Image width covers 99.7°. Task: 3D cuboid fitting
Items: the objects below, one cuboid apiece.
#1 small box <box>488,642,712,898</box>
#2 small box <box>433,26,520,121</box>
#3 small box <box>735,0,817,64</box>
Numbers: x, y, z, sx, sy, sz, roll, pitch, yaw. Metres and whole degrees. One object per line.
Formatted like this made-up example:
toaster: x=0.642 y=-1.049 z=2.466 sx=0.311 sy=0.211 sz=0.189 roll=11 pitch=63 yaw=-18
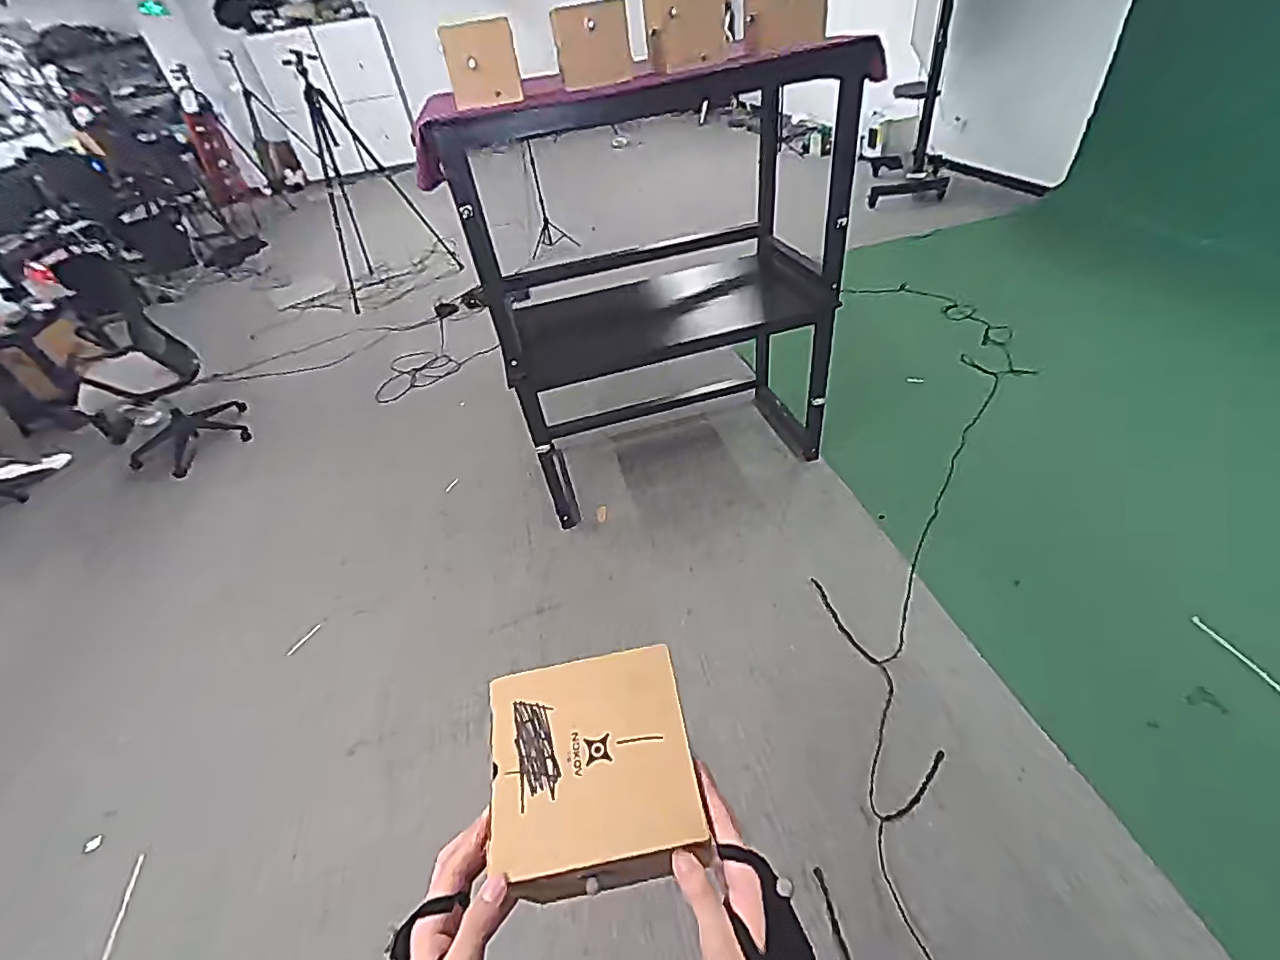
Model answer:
small box: x=-0.033 y=0.284 z=0.525 sx=0.179 sy=0.176 sz=0.168 roll=-11 pitch=48 yaw=-2
small box: x=-0.404 y=-1.023 z=1.366 sx=0.168 sy=0.176 sz=0.179 roll=-13 pitch=39 yaw=-3
small box: x=0.365 y=-1.233 z=1.445 sx=0.179 sy=0.176 sz=0.168 roll=-13 pitch=42 yaw=-2
